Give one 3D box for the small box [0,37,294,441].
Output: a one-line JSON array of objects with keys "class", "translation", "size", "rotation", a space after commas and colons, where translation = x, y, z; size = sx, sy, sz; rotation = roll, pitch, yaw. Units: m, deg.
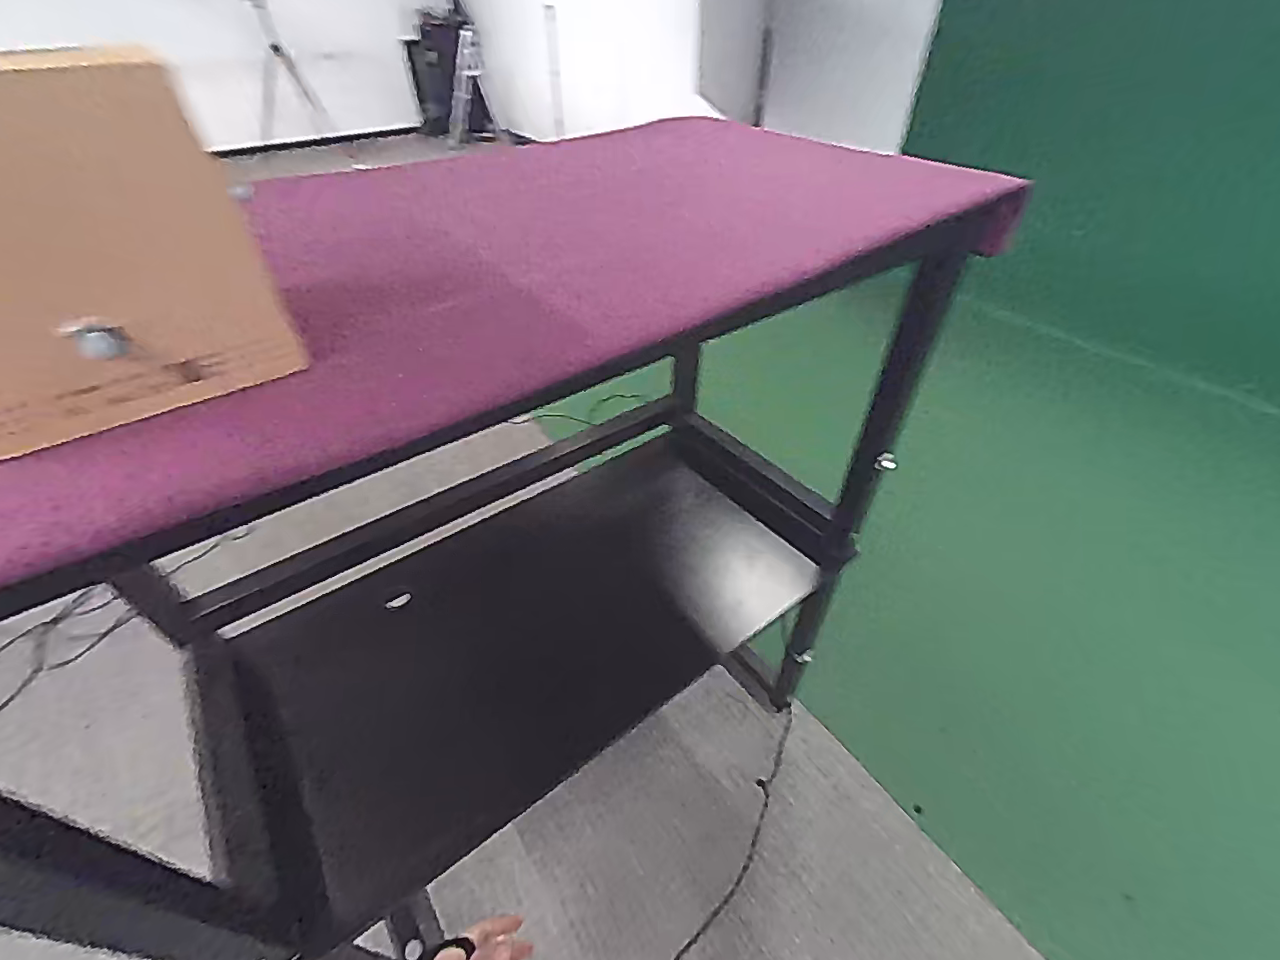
[{"class": "small box", "translation": [-0.342, -0.150, 0.321], "size": [0.168, 0.176, 0.179], "rotation": [-28, 49, -27]}]
